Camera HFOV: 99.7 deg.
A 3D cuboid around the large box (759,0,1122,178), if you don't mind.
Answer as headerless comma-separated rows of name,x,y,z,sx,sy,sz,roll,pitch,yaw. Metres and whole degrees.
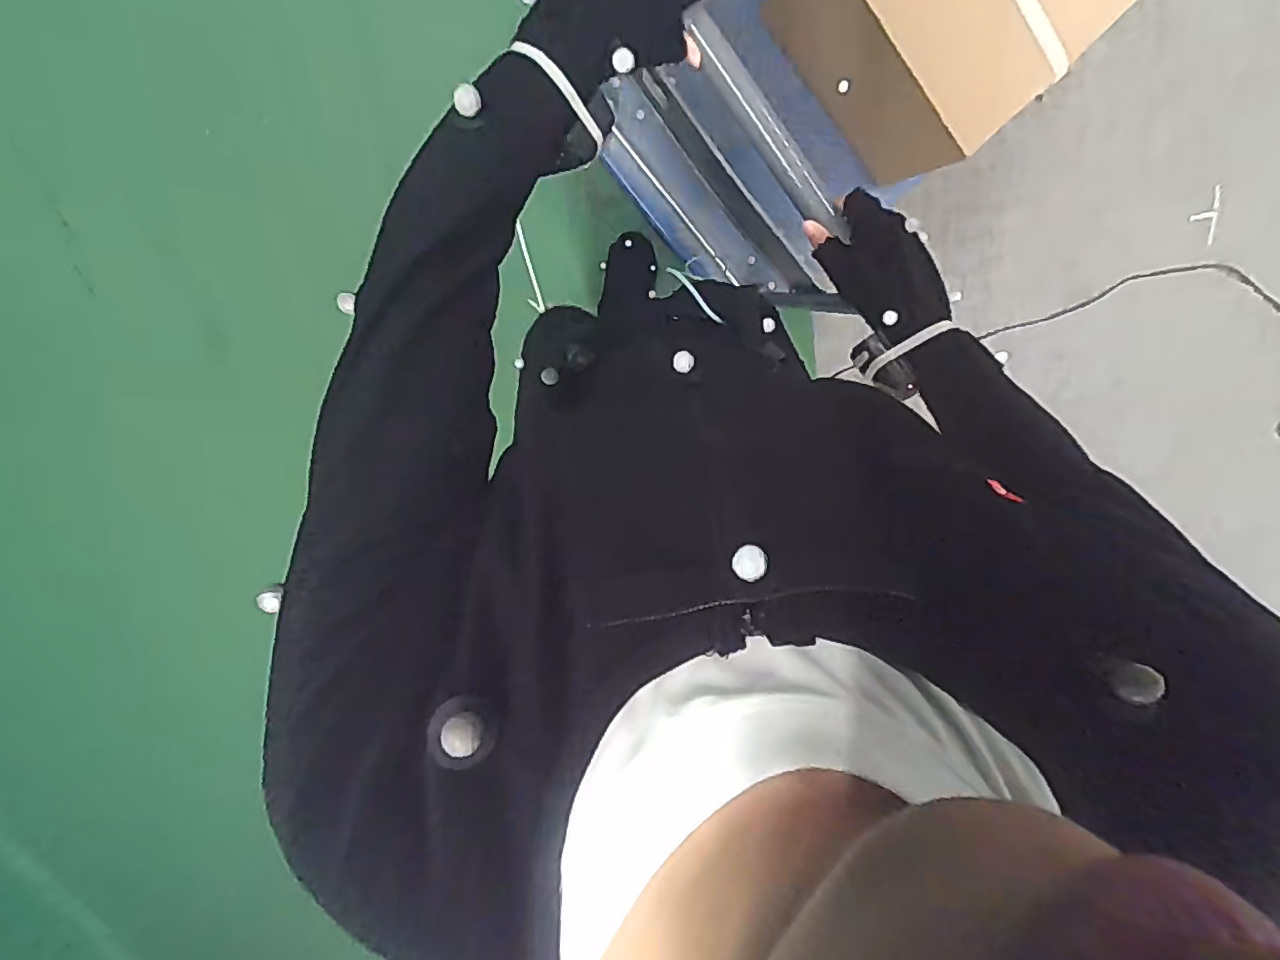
large box,0.463,-0.787,0.878,0.320,0.320,0.408,-43,106,13
